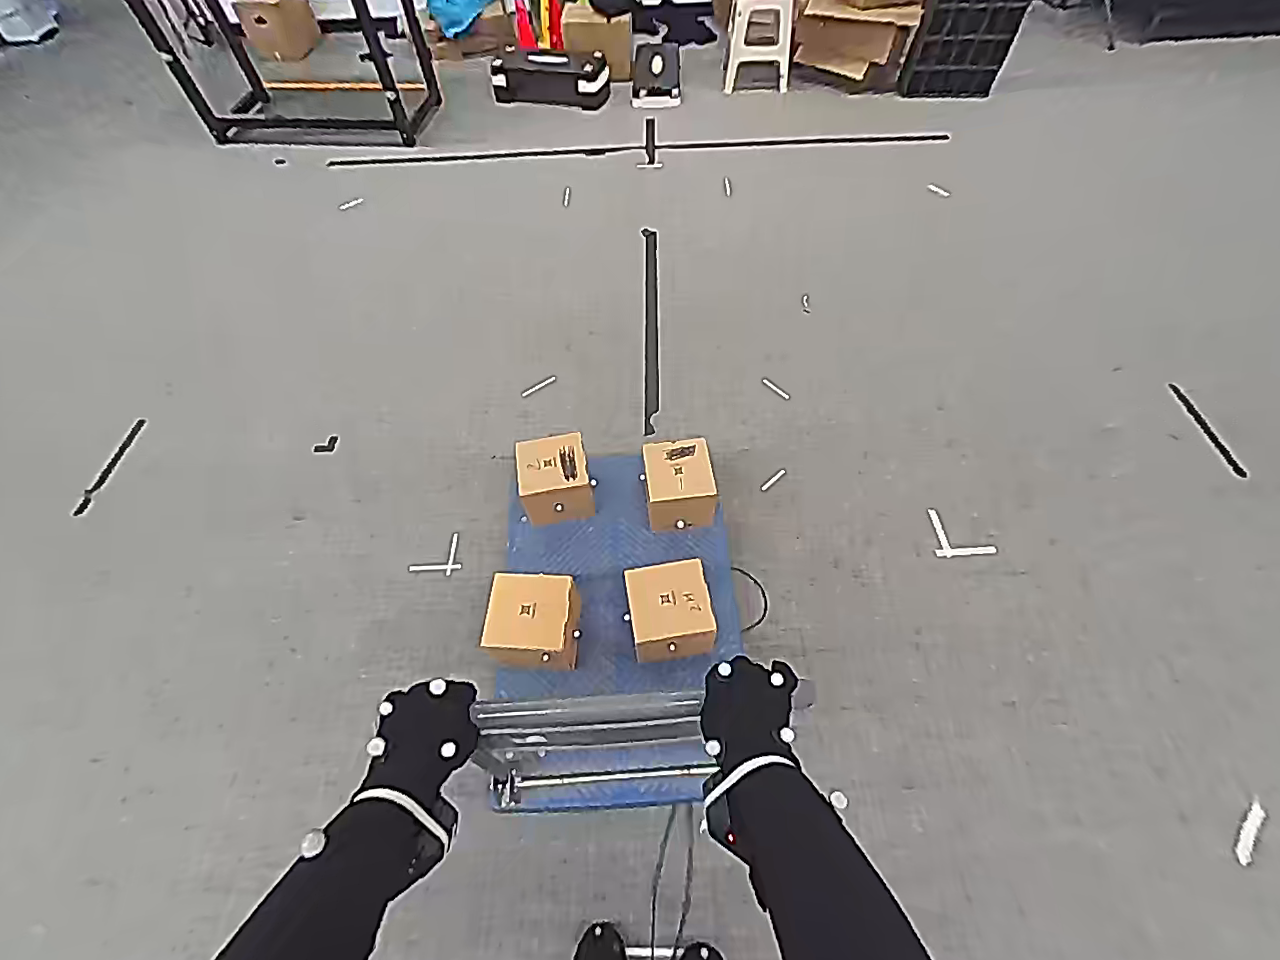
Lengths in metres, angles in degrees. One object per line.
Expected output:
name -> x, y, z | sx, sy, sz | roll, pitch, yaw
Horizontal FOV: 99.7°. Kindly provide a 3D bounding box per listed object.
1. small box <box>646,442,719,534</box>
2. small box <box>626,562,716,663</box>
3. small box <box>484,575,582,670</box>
small box -> 0.104, 0.023, 1.420 | 0.168, 0.176, 0.179 | -6, 58, -2
small box -> 0.069, 0.307, 1.236 | 0.179, 0.176, 0.168 | -8, 57, -3
small box -> -0.234, 0.328, 1.236 | 0.179, 0.176, 0.168 | 2, 57, 2
